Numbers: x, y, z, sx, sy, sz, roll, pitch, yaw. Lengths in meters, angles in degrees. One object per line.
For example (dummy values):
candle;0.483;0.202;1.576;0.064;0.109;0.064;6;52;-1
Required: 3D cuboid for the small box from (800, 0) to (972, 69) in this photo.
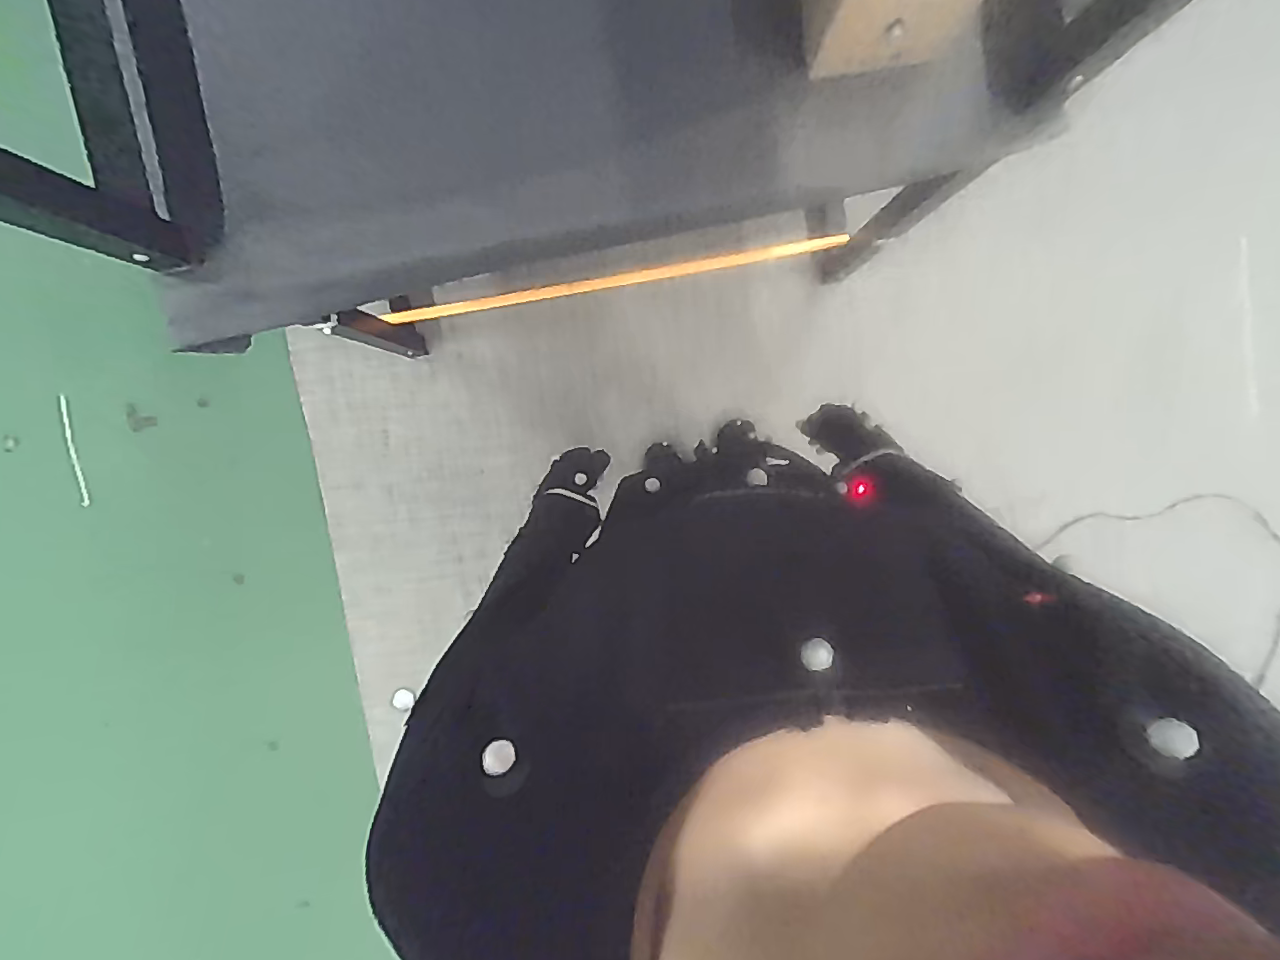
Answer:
small box;0.282;-0.598;0.602;0.168;0.176;0.179;-7;94;1
